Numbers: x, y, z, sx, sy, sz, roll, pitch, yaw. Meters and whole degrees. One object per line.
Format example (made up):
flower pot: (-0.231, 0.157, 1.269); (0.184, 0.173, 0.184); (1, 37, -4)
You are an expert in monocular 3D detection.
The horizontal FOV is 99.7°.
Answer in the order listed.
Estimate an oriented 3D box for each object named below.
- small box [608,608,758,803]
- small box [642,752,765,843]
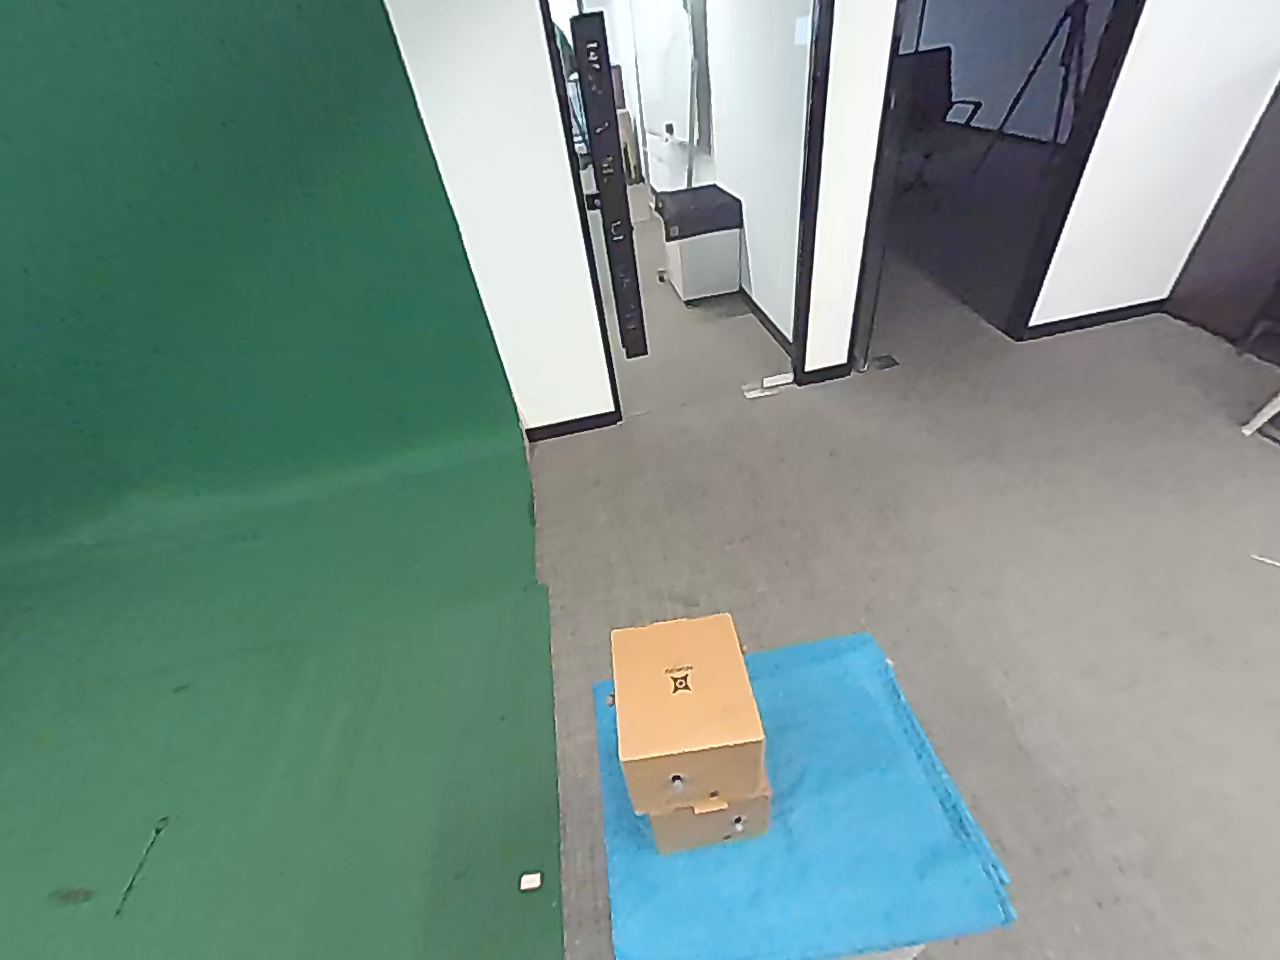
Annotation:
small box: (0.054, 0.299, 0.708); (0.168, 0.176, 0.179); (-8, 39, 0)
small box: (0.084, 0.419, 0.812); (0.168, 0.176, 0.179); (-9, 40, -1)
